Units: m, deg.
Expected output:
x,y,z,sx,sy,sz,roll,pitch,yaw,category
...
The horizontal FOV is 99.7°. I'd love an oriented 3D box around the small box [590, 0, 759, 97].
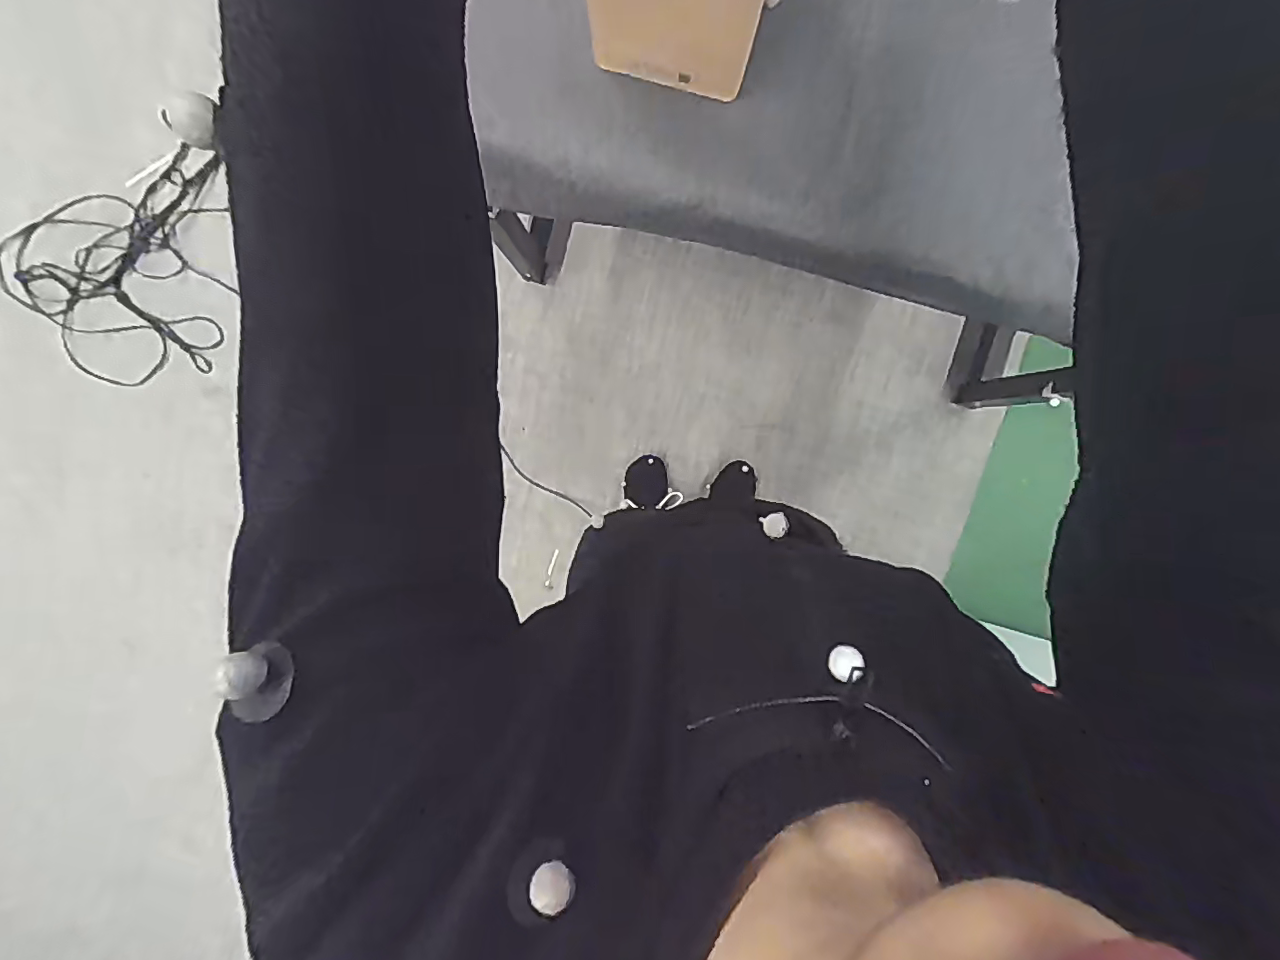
x,y,z,sx,sy,sz,roll,pitch,yaw,category
0.045,-0.526,0.521,0.168,0.176,0.179,14,94,-2,small box
